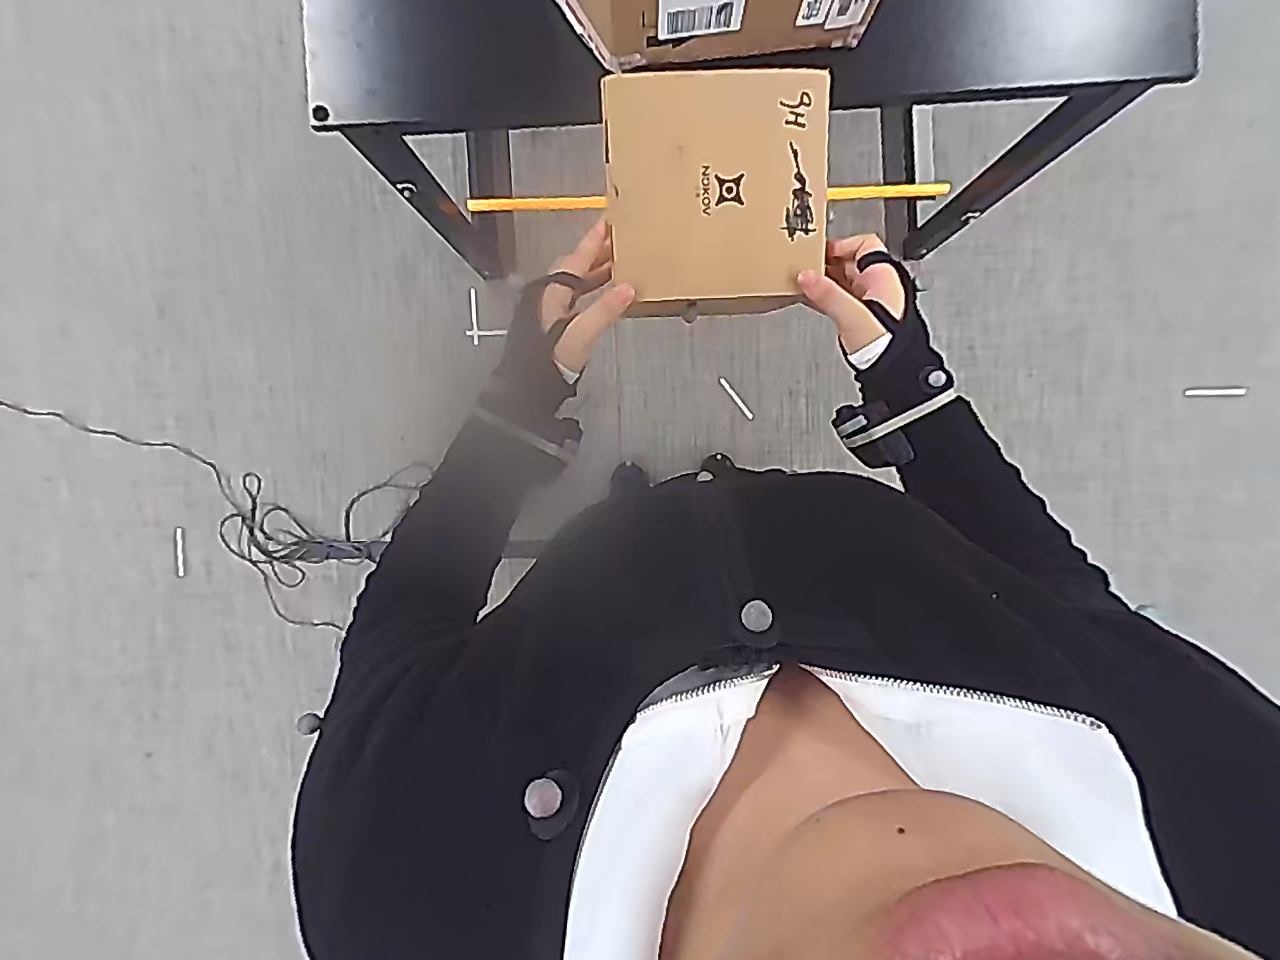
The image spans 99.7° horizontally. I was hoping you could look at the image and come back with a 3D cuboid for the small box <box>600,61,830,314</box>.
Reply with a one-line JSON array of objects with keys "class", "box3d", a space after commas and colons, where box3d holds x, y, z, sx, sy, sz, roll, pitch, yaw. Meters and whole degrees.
[{"class": "small box", "box3d": [0.058, -0.248, 0.499, 0.179, 0.176, 0.168, -2, 101, -2]}]
